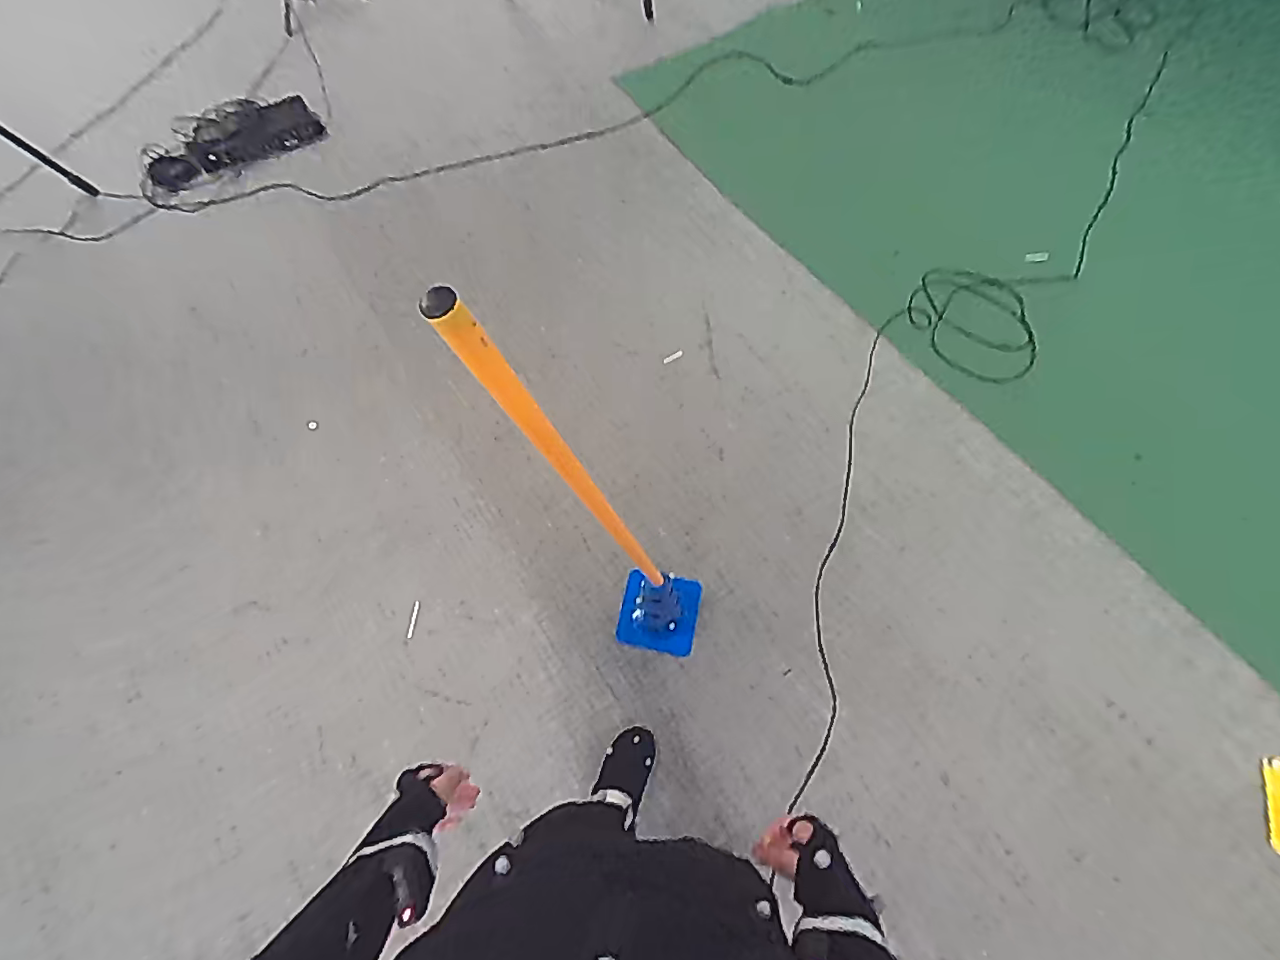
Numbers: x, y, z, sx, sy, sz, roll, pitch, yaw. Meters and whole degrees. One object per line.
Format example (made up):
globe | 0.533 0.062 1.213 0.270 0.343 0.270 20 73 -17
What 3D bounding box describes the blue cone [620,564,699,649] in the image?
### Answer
blue cone | 0.041 0.264 1.235 0.193 0.380 0.192 9 68 7
